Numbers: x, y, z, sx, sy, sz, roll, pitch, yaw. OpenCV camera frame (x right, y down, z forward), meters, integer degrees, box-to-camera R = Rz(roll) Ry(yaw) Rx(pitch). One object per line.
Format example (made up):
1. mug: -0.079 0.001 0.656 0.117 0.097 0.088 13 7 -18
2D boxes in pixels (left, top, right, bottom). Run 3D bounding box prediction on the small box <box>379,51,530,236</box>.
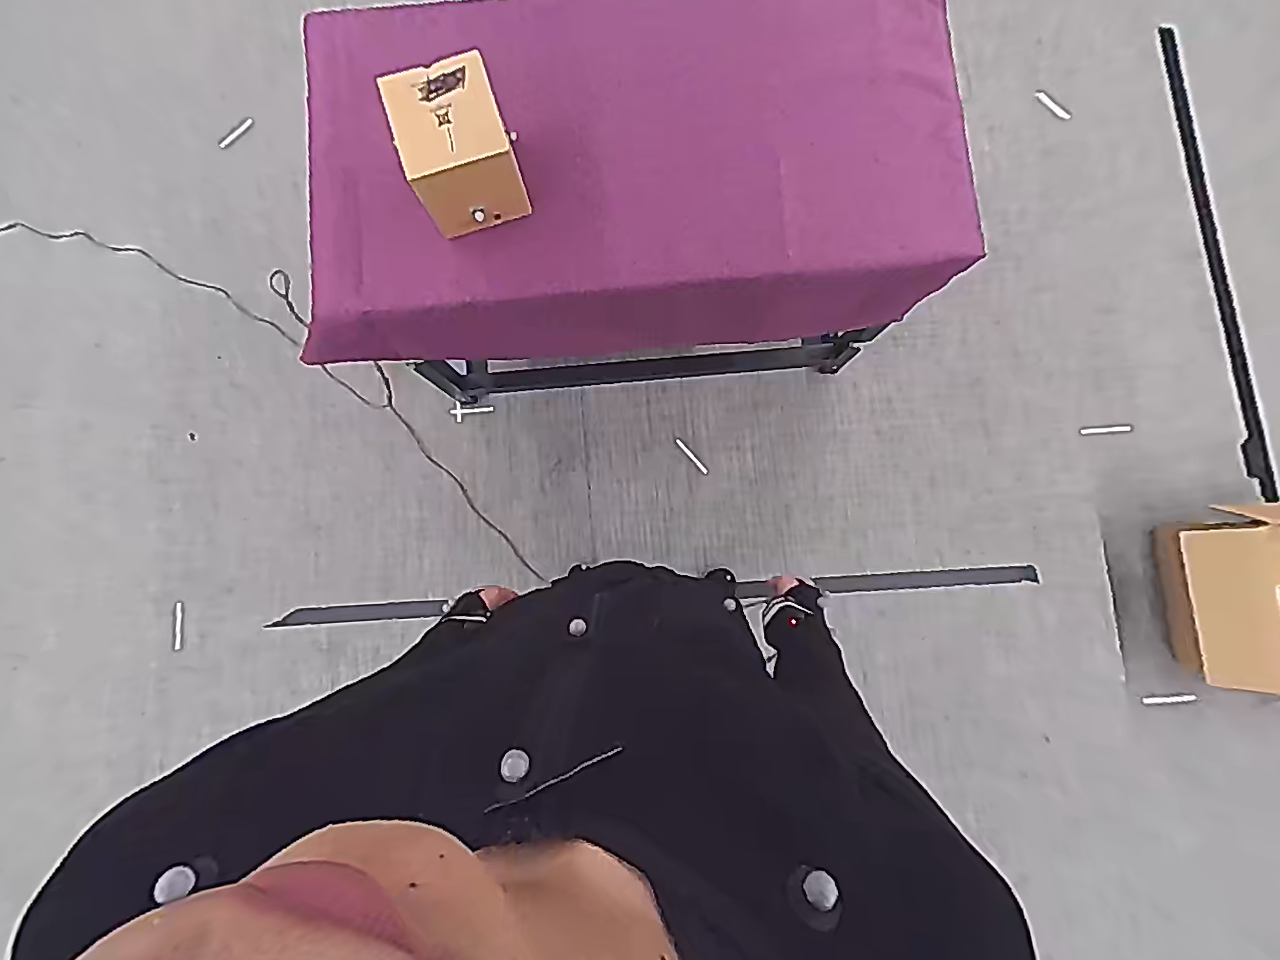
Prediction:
1. small box: -0.298 -0.546 0.899 0.168 0.176 0.179 -18 85 -1
